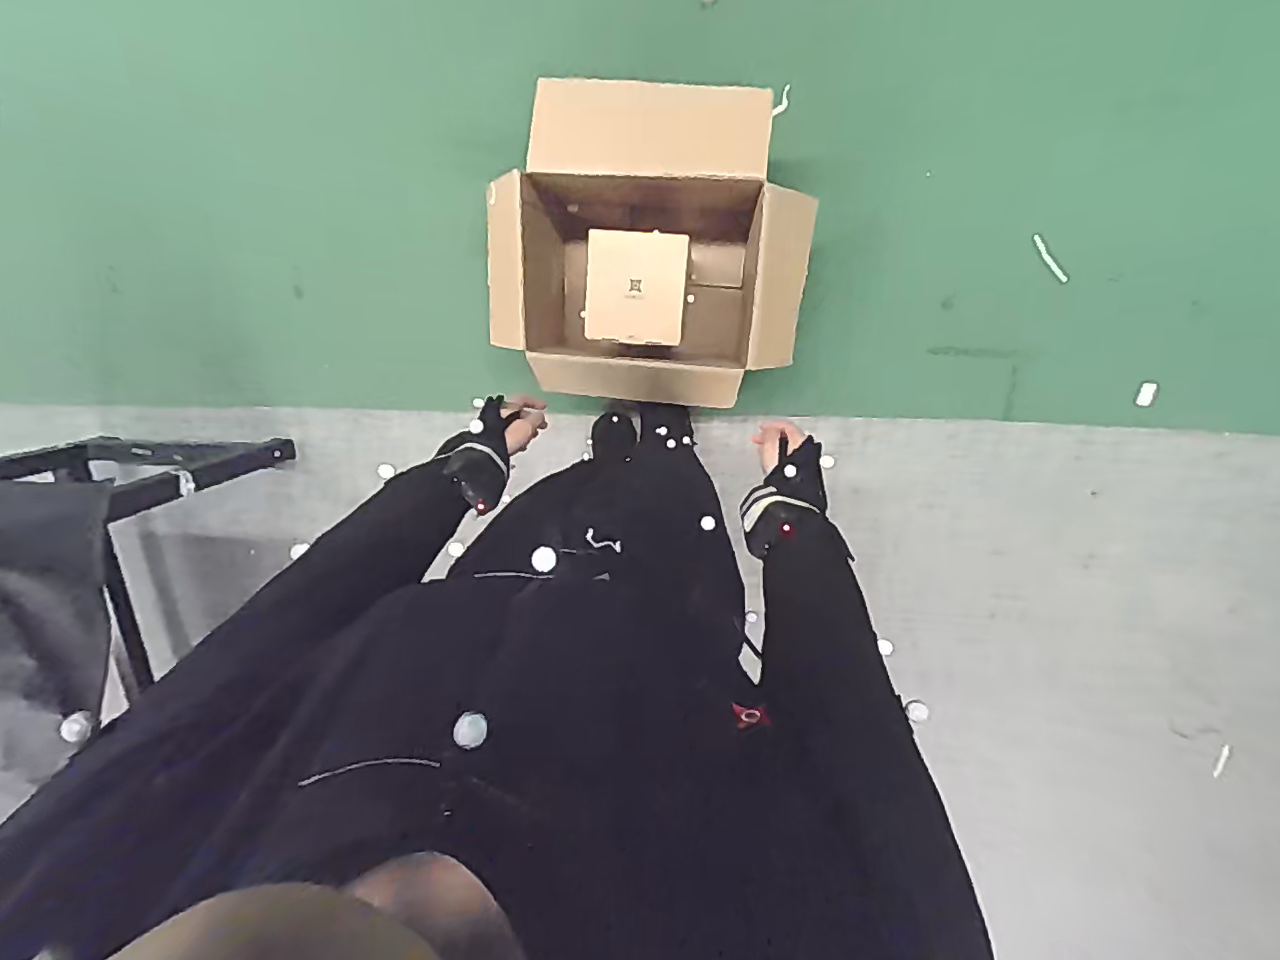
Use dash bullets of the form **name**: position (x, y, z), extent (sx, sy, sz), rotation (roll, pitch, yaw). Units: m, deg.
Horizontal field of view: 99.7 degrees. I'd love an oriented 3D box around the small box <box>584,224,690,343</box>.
- **small box**: position (-0.001, -0.343, 0.965), extent (0.168, 0.176, 0.179), rotation (5, 107, 4)
